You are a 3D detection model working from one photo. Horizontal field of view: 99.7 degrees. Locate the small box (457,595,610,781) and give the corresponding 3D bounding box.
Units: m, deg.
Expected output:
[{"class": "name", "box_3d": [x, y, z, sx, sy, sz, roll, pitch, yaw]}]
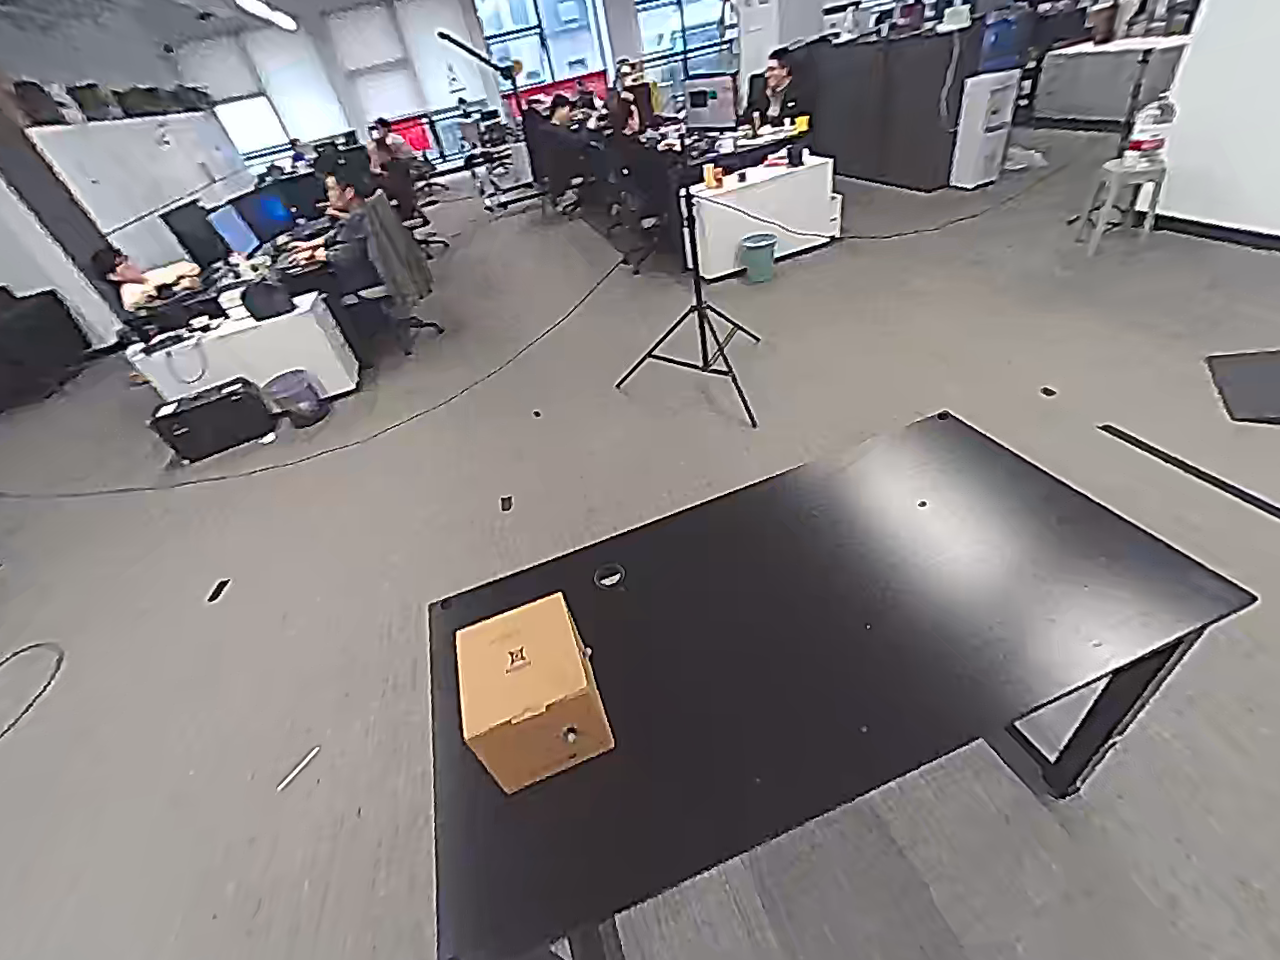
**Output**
[{"class": "small box", "box_3d": [-0.155, 0.310, 0.795, 0.168, 0.176, 0.179, -19, 38, -9]}]
